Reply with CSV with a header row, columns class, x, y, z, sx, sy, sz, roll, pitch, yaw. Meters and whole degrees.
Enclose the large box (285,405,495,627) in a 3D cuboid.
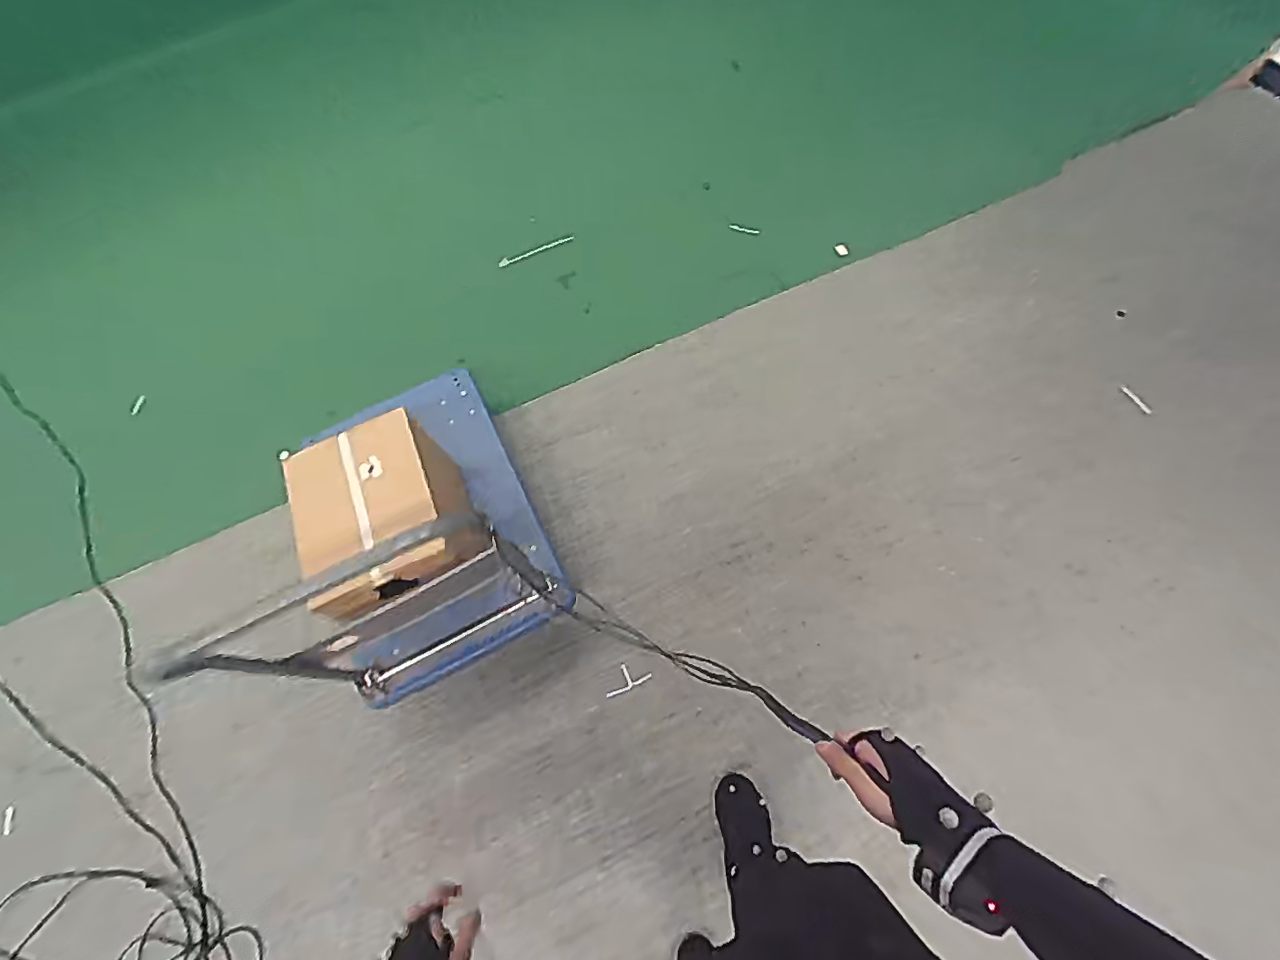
class,x,y,z,sx,sy,sz,roll,pitch,yaw
large box,-0.612,0.098,1.355,0.320,0.320,0.408,-25,65,-5
